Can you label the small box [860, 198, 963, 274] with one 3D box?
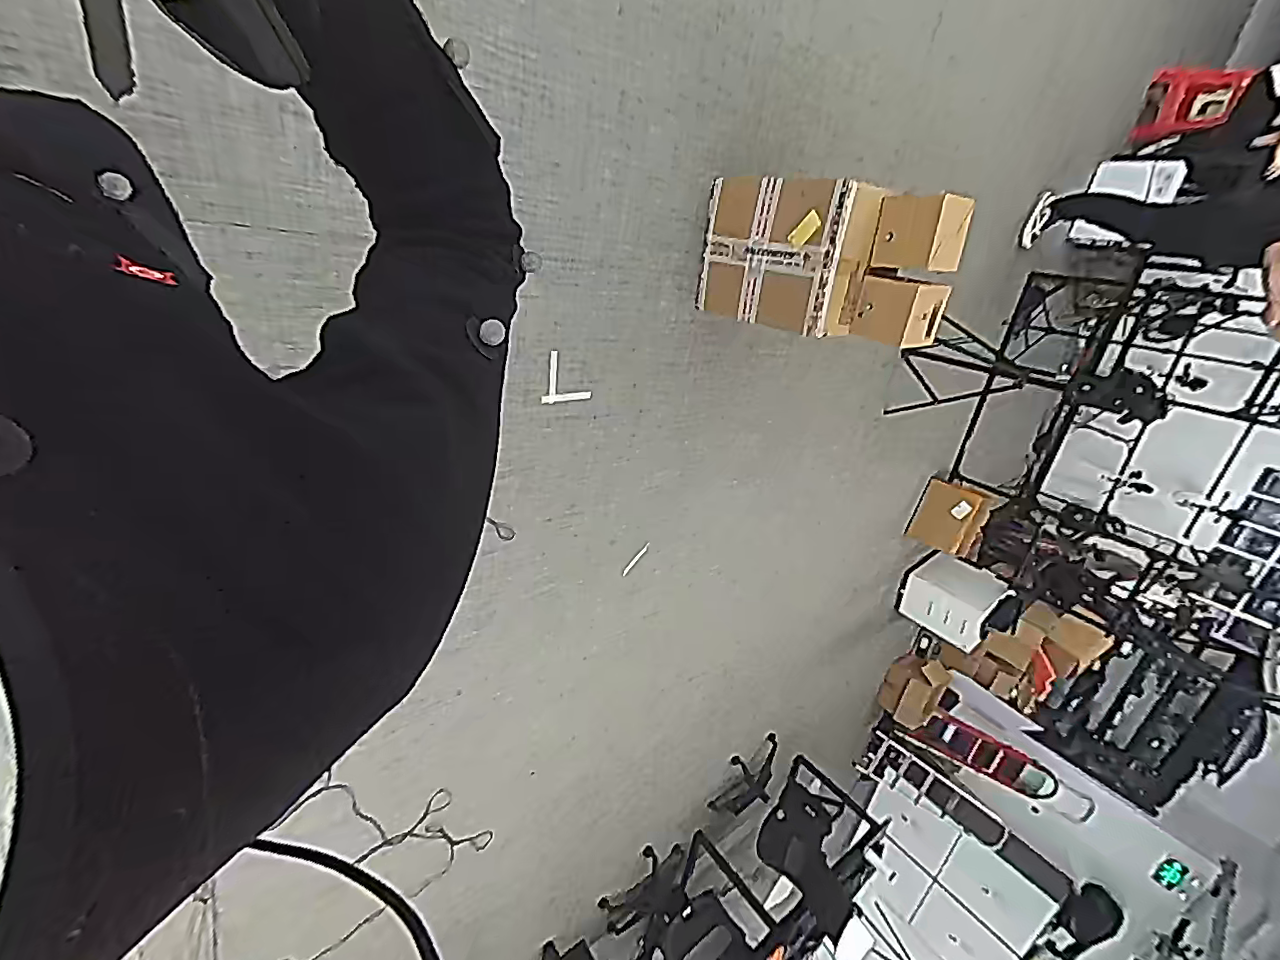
[{"bbox_3d":[0.733,-0.654,1.460,0.168,0.176,0.179,-13,119,-36],"label":"small box"}]
